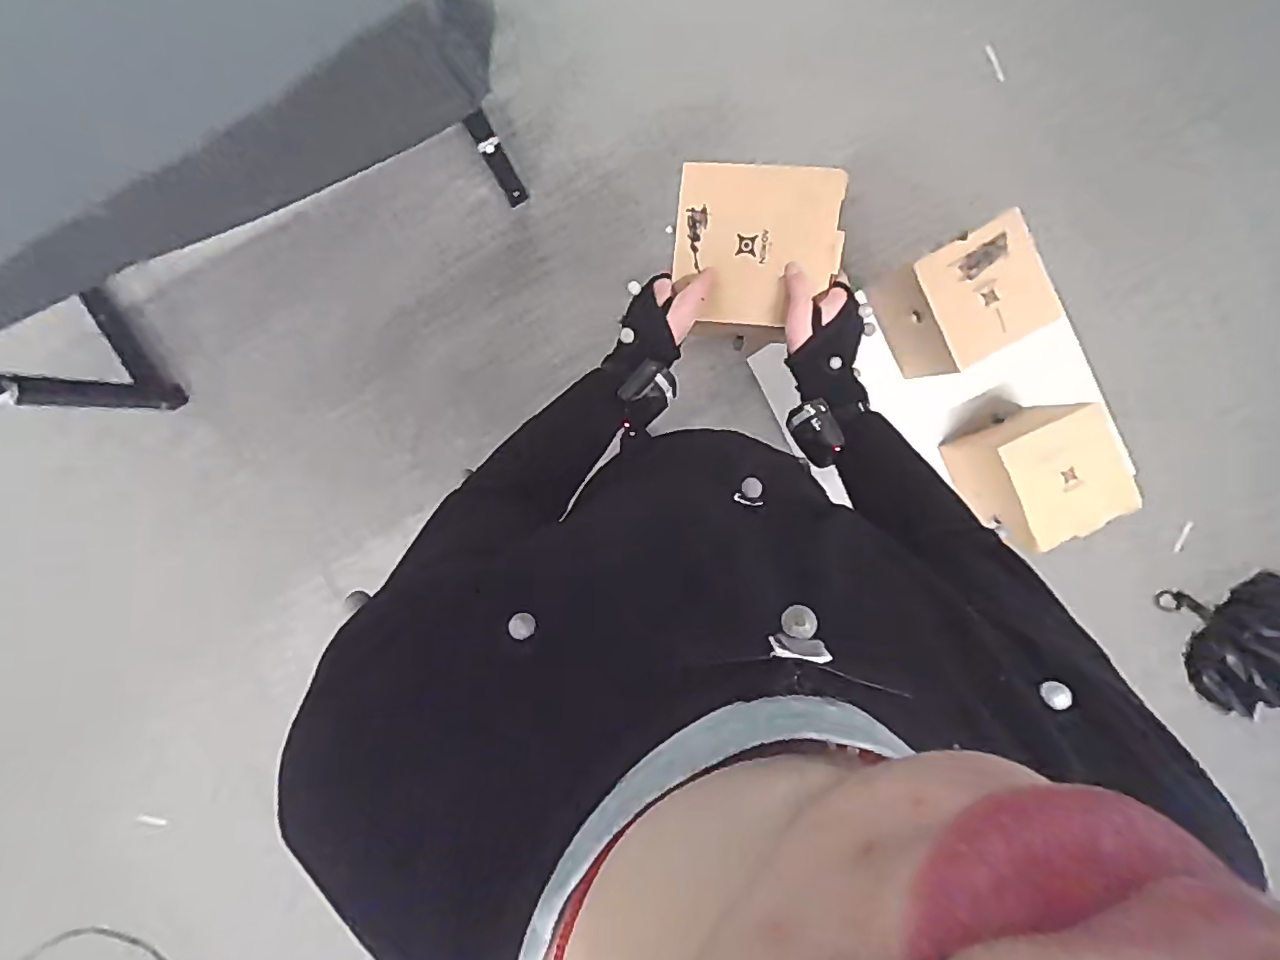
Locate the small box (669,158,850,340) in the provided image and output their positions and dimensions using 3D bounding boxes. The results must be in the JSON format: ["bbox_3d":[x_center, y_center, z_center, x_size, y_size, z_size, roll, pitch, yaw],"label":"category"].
[{"bbox_3d":[0.132,-0.265,0.658,0.179,0.176,0.168,6,100,4],"label":"small box"}]

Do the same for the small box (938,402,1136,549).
[{"bbox_3d":[0.629,-0.015,0.878,0.168,0.176,0.179,-25,95,2],"label":"small box"}]

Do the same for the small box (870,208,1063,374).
[{"bbox_3d":[0.493,-0.279,0.843,0.168,0.176,0.179,-28,98,3],"label":"small box"}]
